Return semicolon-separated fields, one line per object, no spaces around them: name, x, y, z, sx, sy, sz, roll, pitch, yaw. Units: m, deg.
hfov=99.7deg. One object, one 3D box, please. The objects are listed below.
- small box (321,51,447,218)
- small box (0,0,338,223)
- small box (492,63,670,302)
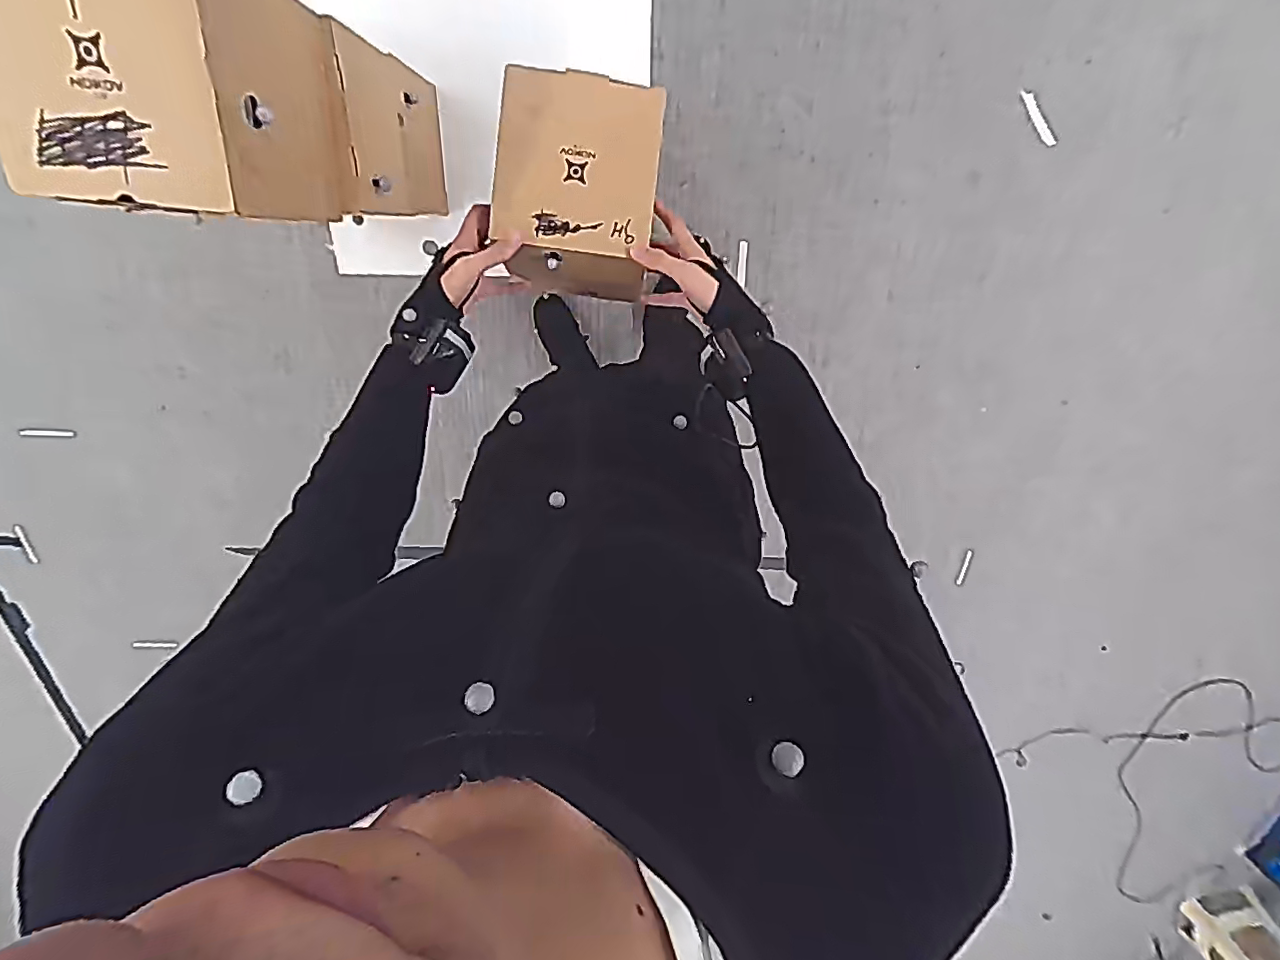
small box;-0.376;-0.460;0.742;0.168;0.176;0.179;1;115;-2
small box;-0.377;-0.316;0.446;0.168;0.176;0.179;4;114;-3
small box;-0.066;-0.326;0.629;0.168;0.176;0.179;7;93;-4
